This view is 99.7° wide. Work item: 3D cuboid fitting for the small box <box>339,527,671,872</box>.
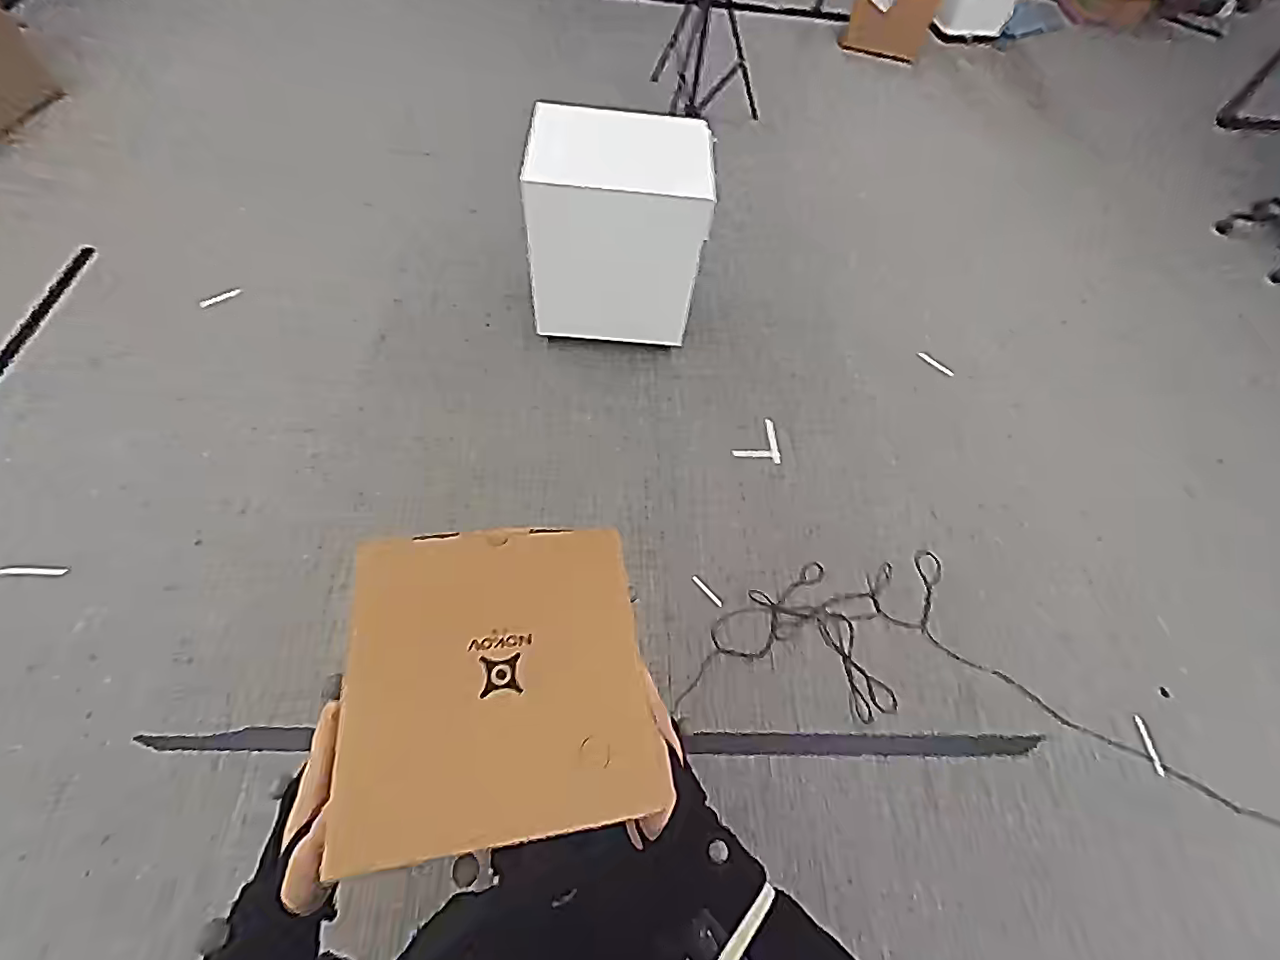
[{"bbox_3d":[-0.090,0.150,0.376,0.168,0.176,0.179,0,56,-16],"label":"small box"}]
